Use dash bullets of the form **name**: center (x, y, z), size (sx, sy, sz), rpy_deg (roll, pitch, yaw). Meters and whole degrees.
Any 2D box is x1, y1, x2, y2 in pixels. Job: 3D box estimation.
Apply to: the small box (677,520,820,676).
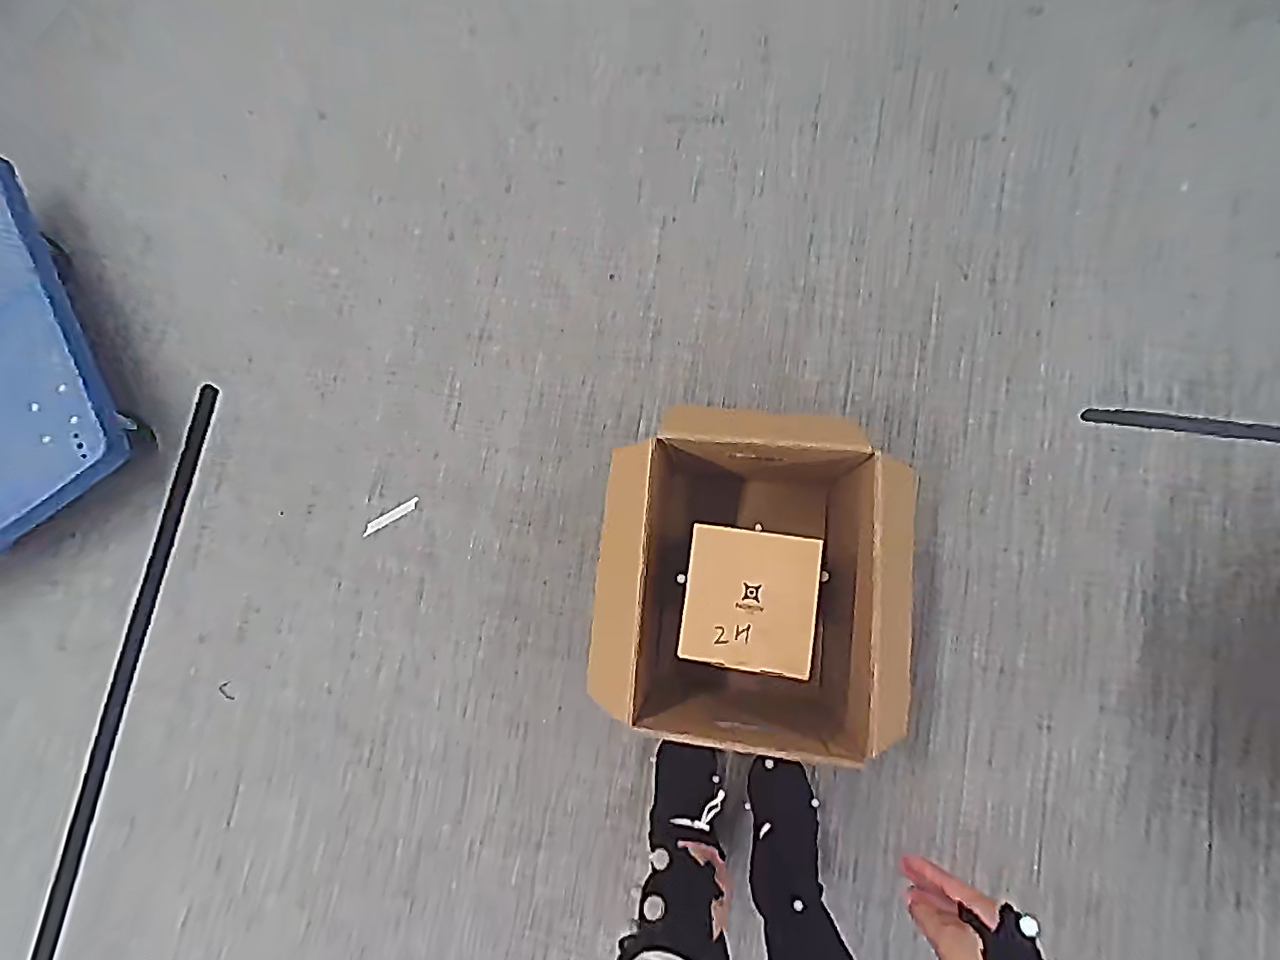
- **small box**: center (0.149, 0.159, 0.771), size (0.168, 0.176, 0.179), rpy_deg (7, 83, 9)
